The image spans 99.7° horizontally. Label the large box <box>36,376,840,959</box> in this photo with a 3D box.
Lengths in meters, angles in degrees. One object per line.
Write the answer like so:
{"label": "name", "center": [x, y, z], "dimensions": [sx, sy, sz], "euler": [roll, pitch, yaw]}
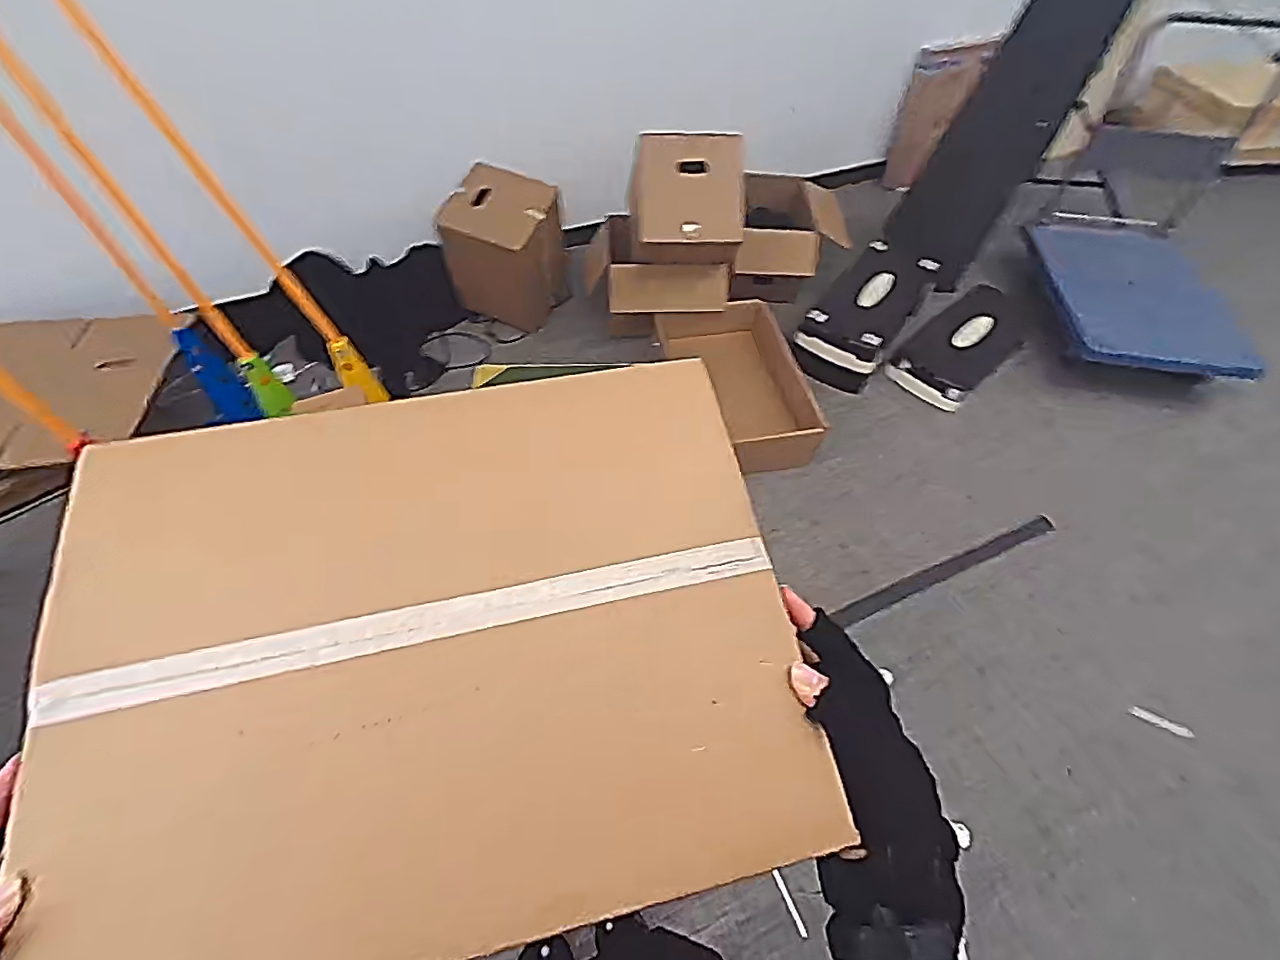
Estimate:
{"label": "large box", "center": [-0.123, 0.153, 0.460], "dimensions": [0.408, 0.320, 0.320], "euler": [-10, 67, -8]}
